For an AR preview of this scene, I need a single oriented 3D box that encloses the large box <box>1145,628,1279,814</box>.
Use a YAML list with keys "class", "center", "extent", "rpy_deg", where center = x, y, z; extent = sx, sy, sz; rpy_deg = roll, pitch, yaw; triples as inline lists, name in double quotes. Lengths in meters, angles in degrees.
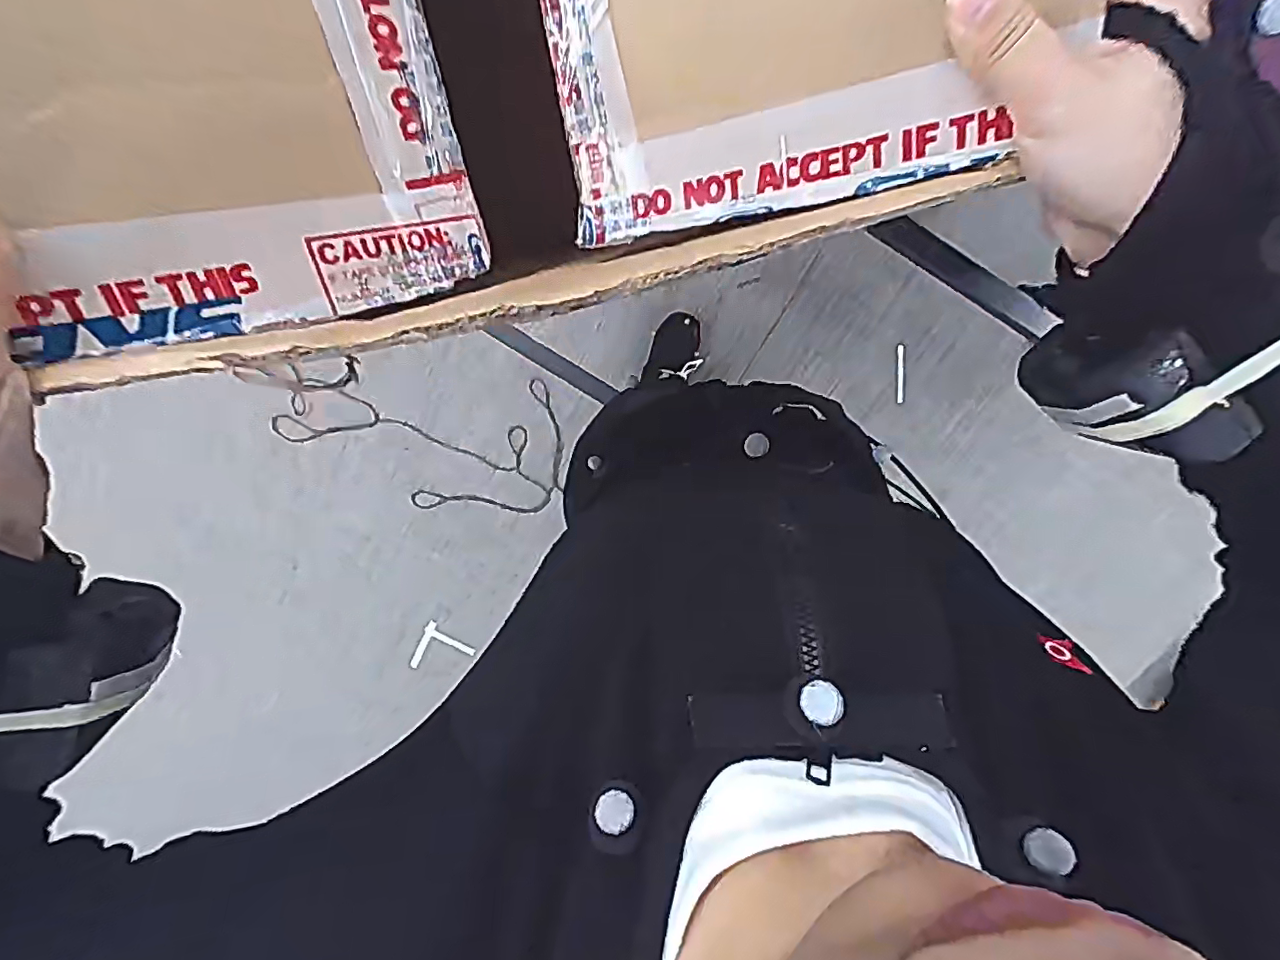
- class: "large box"
  center: [1.625, 0.640, 1.325]
  extent: [0.408, 0.320, 0.320]
  rpy_deg: [29, 104, -4]
